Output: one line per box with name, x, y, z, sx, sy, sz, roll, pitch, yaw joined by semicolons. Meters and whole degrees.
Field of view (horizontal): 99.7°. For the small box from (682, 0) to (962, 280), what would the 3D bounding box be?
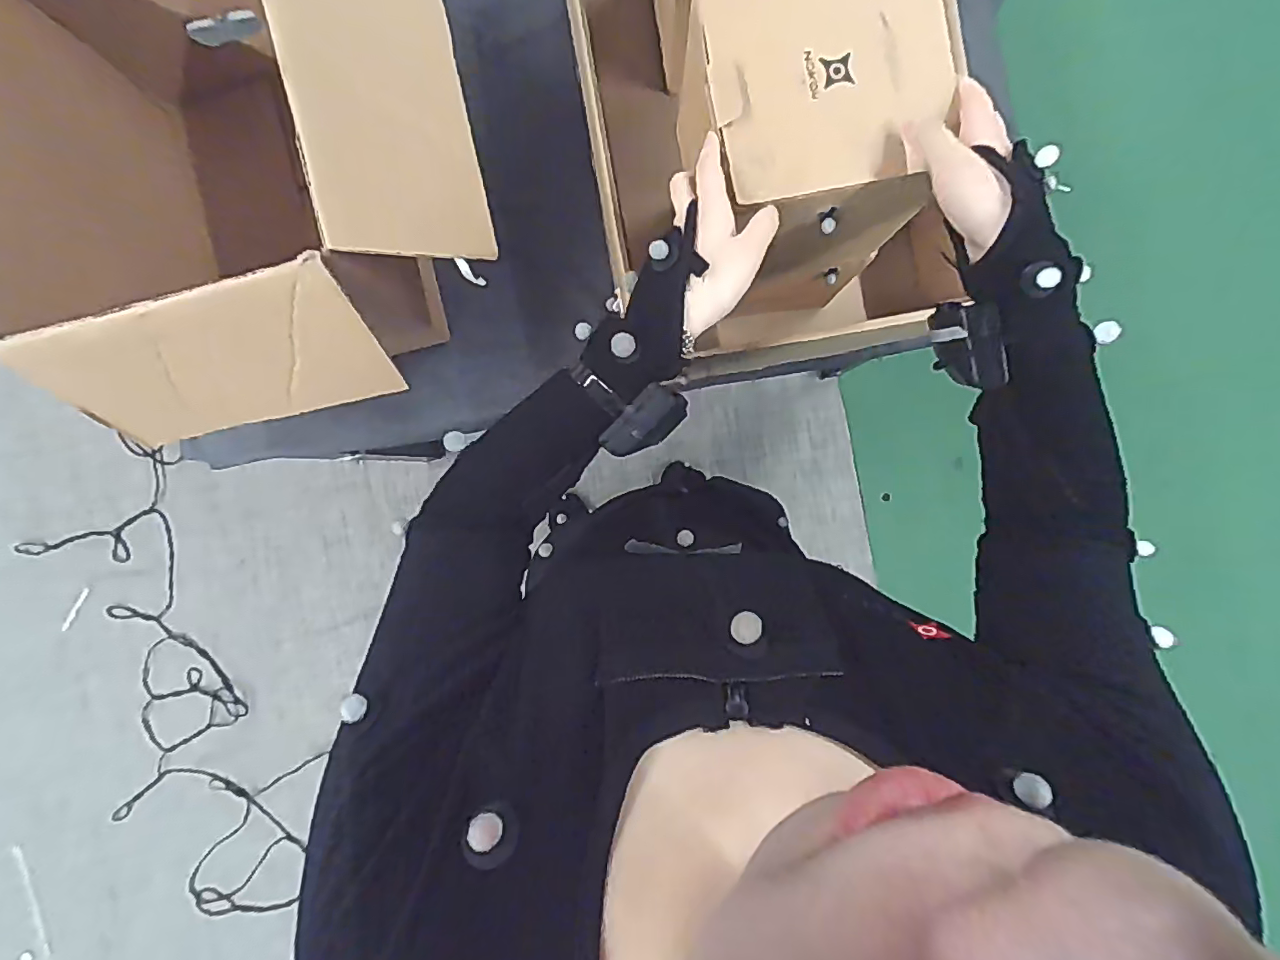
small box;0.137;-0.293;0.475;0.179;0.176;0.168;-12;92;-1
